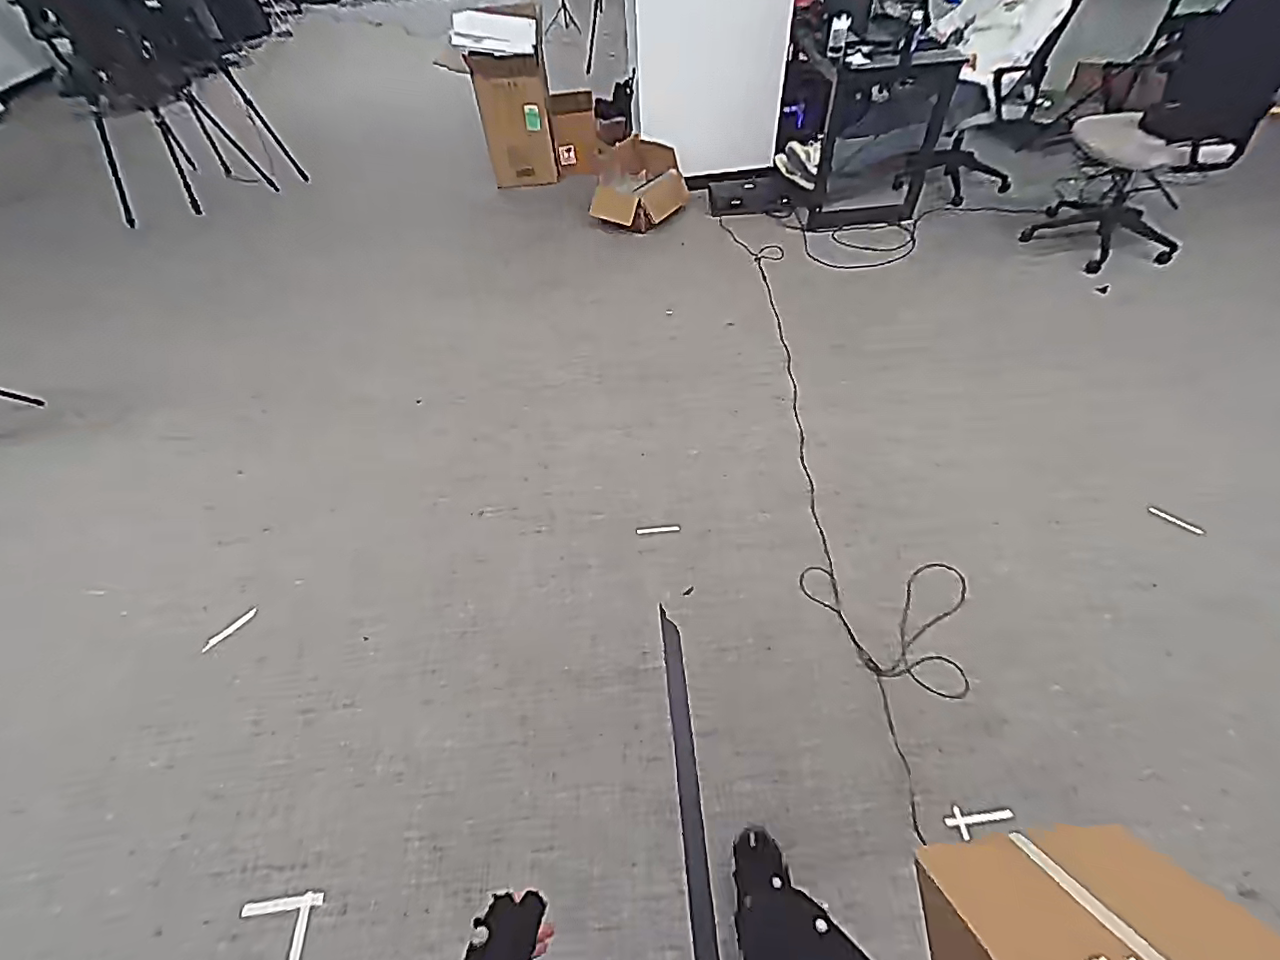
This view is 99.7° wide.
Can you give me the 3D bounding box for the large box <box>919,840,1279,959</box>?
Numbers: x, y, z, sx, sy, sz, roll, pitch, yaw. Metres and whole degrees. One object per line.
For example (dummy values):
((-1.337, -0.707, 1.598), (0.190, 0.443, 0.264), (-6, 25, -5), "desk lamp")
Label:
((0.583, 0.692, 0.614), (0.320, 0.408, 0.320), (-8, 85, 2), "large box")
